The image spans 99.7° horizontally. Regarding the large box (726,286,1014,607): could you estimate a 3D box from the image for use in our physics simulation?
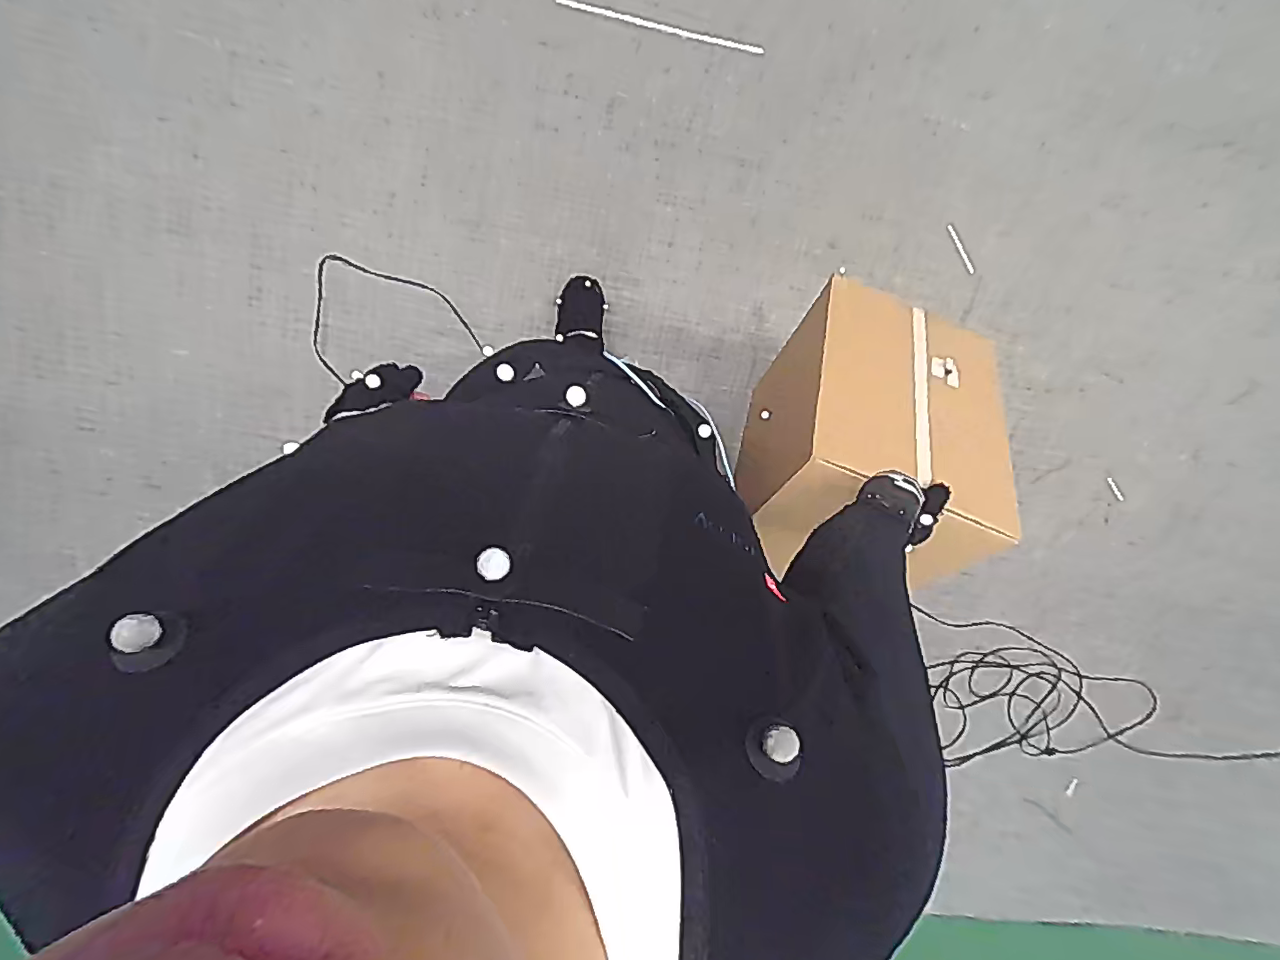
[{"bbox_3d":[0.376,-0.048,0.951,0.320,0.408,0.320,23,145,-6],"label":"large box"}]
